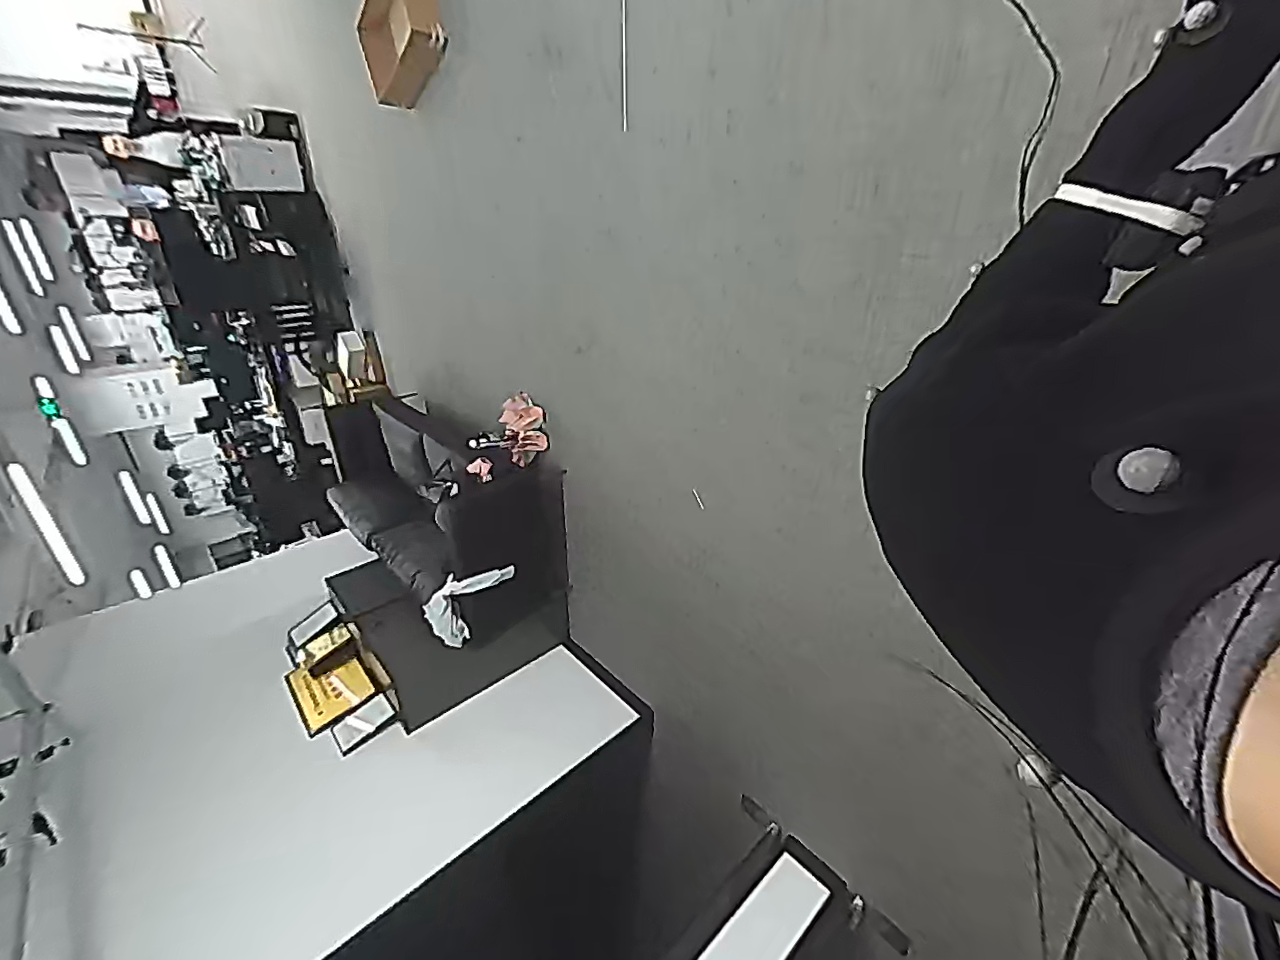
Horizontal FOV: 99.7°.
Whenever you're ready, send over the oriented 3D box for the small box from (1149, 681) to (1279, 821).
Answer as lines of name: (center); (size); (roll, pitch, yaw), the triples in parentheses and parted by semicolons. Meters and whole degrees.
small box: (1.237, 0.559, 1.147); (0.179, 0.176, 0.168); (25, 125, 41)
